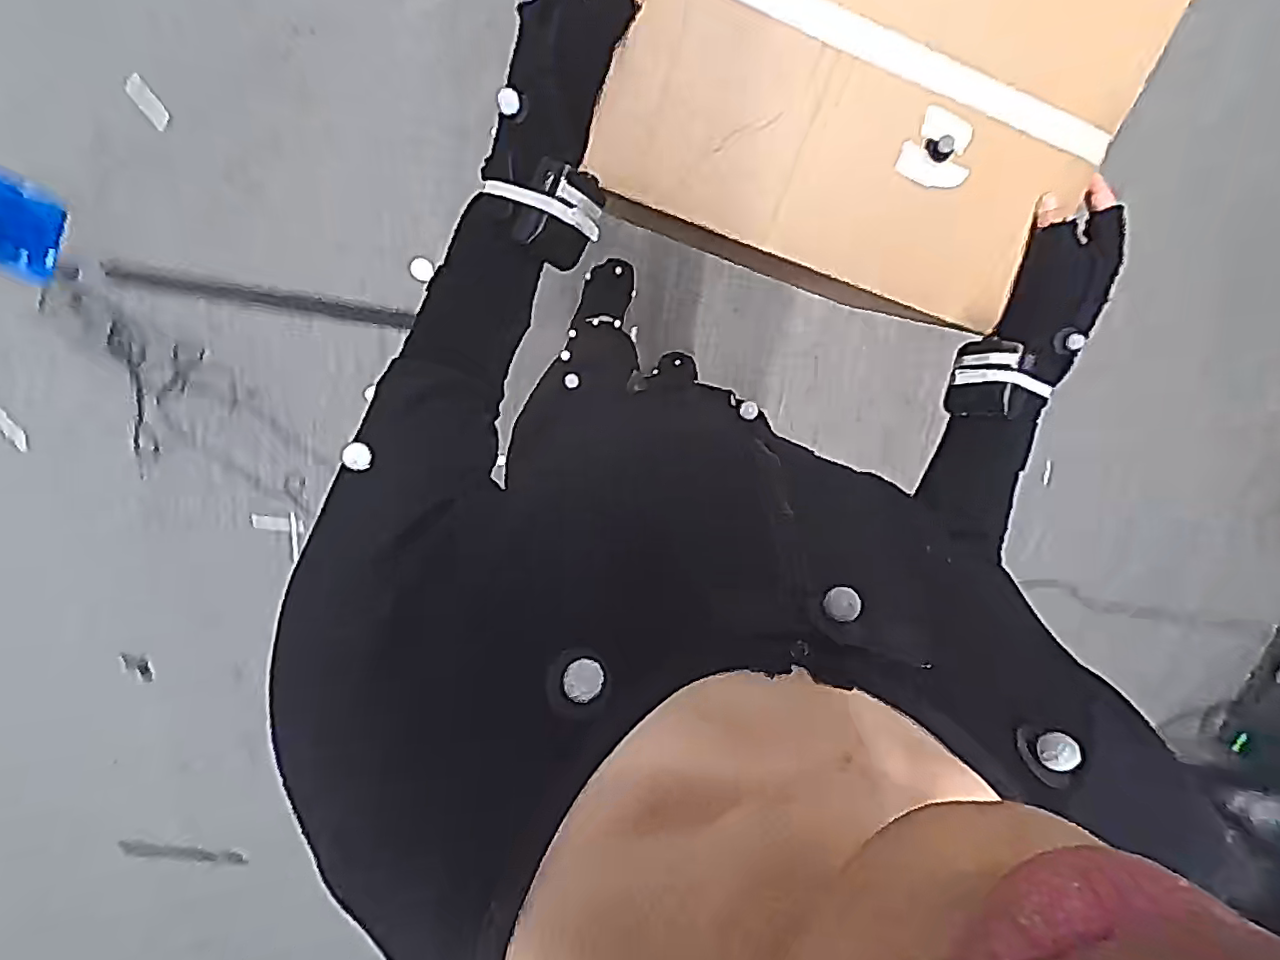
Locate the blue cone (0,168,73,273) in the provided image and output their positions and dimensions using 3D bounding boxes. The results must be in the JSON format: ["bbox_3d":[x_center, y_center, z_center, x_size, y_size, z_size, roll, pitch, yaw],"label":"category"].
[{"bbox_3d":[-1.468,-0.574,1.138,0.192,0.380,0.193,28,103,-9],"label":"blue cone"}]
